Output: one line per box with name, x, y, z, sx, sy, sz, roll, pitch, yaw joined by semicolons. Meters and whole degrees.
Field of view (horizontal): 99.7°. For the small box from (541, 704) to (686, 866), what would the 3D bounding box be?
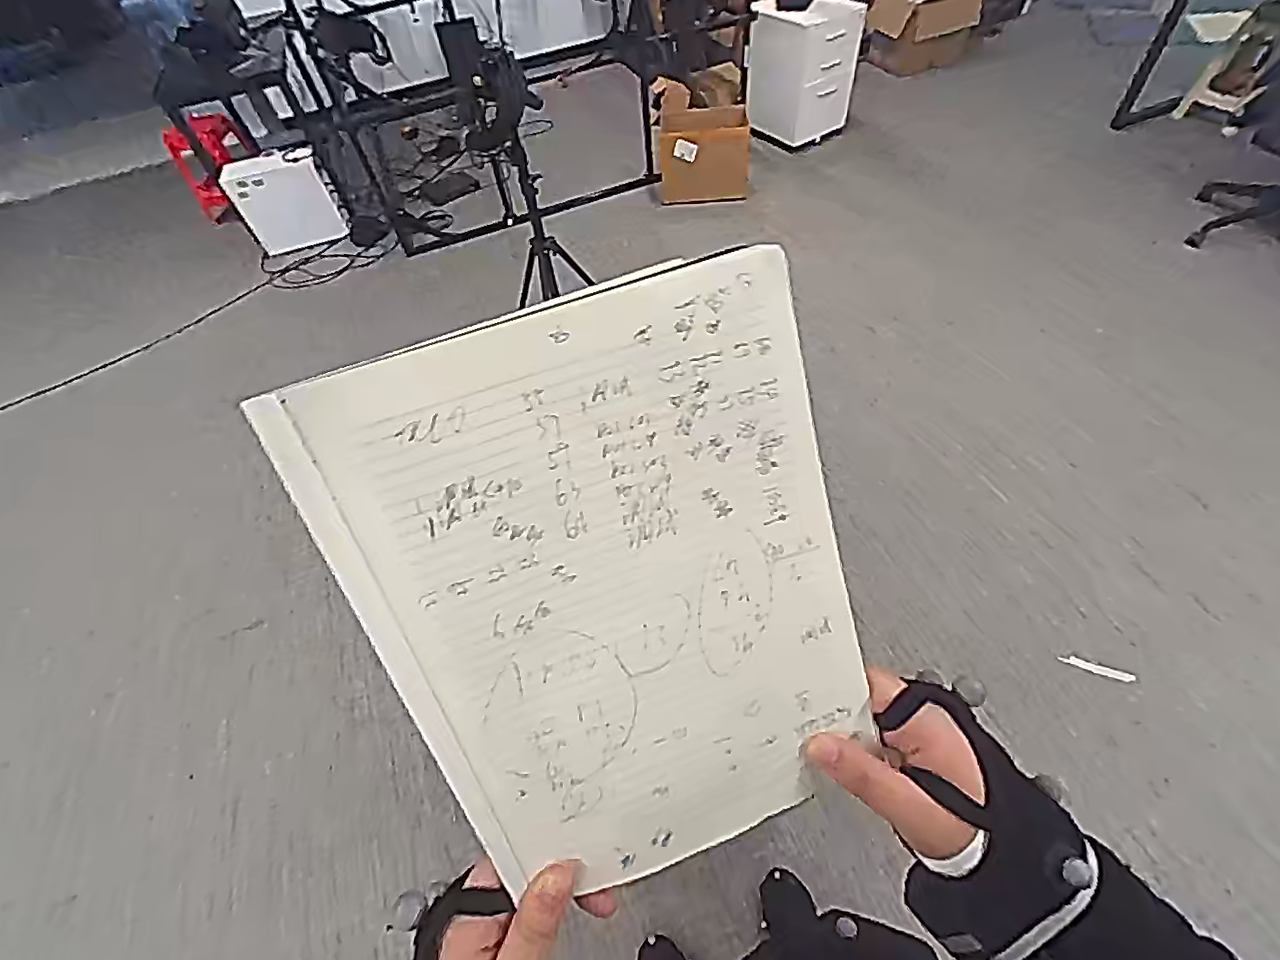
small box;-0.035;0.462;0.821;0.179;0.176;0.168;-16;55;-3
